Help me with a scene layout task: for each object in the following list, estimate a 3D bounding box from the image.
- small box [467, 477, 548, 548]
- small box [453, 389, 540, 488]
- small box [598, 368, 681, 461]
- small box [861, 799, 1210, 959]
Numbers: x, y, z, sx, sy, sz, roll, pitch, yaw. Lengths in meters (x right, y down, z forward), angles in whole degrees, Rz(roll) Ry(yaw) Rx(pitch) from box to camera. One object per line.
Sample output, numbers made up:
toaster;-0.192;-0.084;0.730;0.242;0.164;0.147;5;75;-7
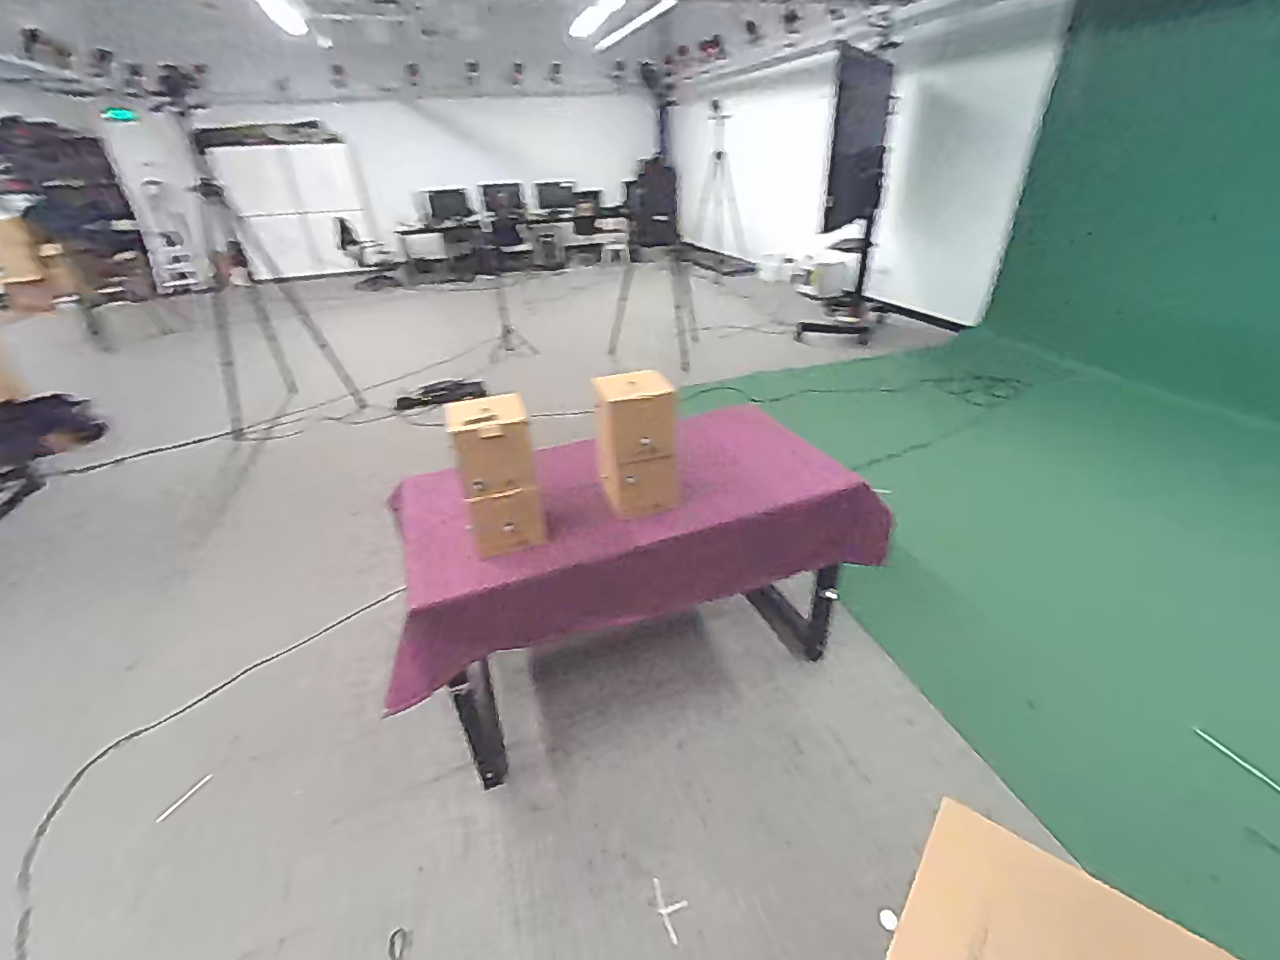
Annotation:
small box;-0.327;0.052;1.331;0.168;0.176;0.179;-11;33;-15
small box;-0.332;-0.093;1.252;0.168;0.176;0.179;-11;31;-14
small box;-0.004;-0.166;1.350;0.168;0.176;0.179;-11;32;-13
small box;0.252;0.375;0.372;0.179;0.176;0.168;20;47;37
